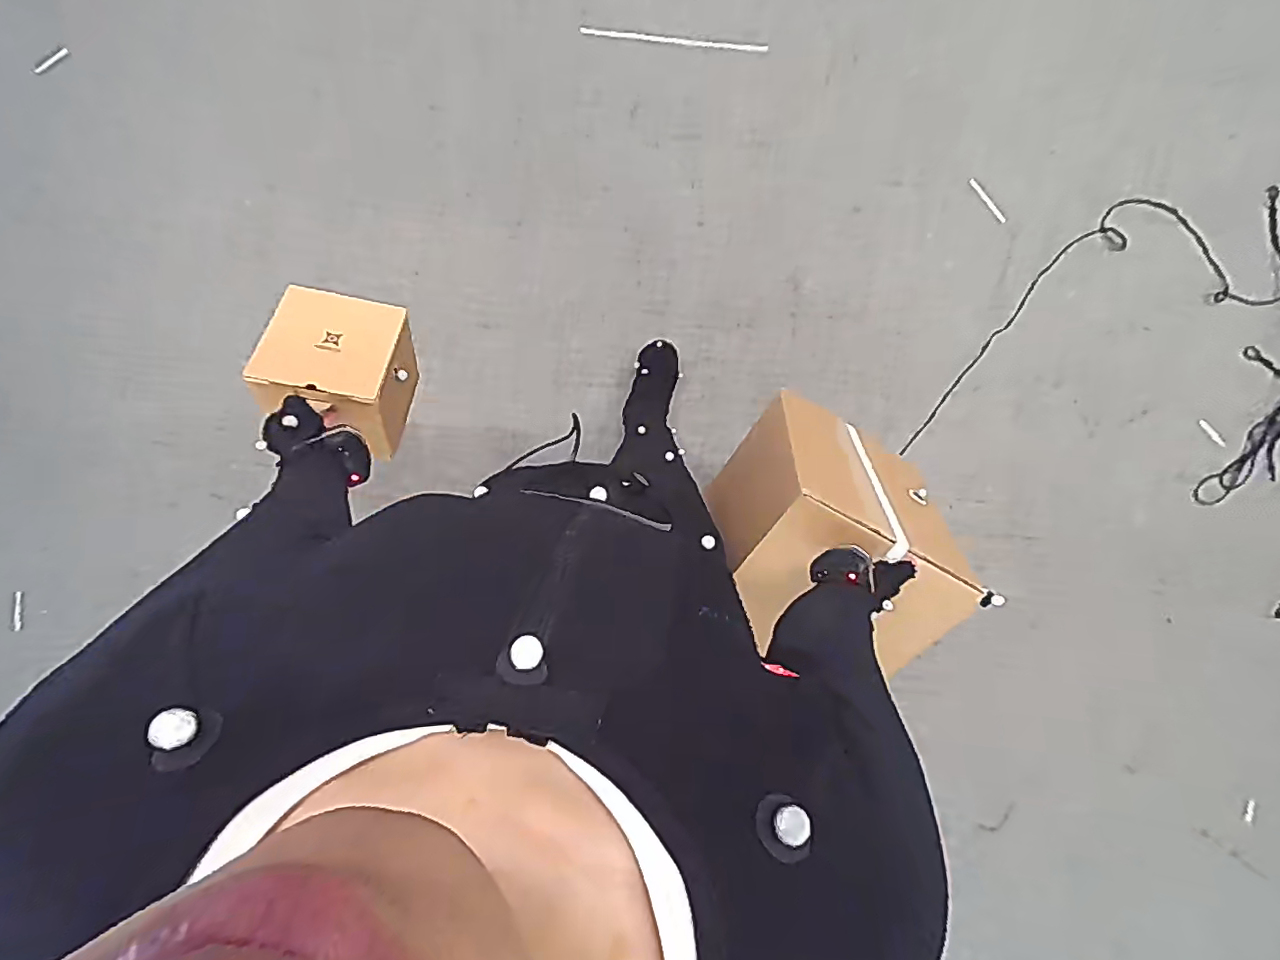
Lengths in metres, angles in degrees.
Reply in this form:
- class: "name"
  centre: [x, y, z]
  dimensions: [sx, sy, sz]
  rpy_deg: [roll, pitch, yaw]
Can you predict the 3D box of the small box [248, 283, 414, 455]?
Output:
- class: "small box"
  centre: [-0.457, -0.164, 0.835]
  dimensions: [0.168, 0.176, 0.179]
  rpy_deg: [9, 62, -12]
